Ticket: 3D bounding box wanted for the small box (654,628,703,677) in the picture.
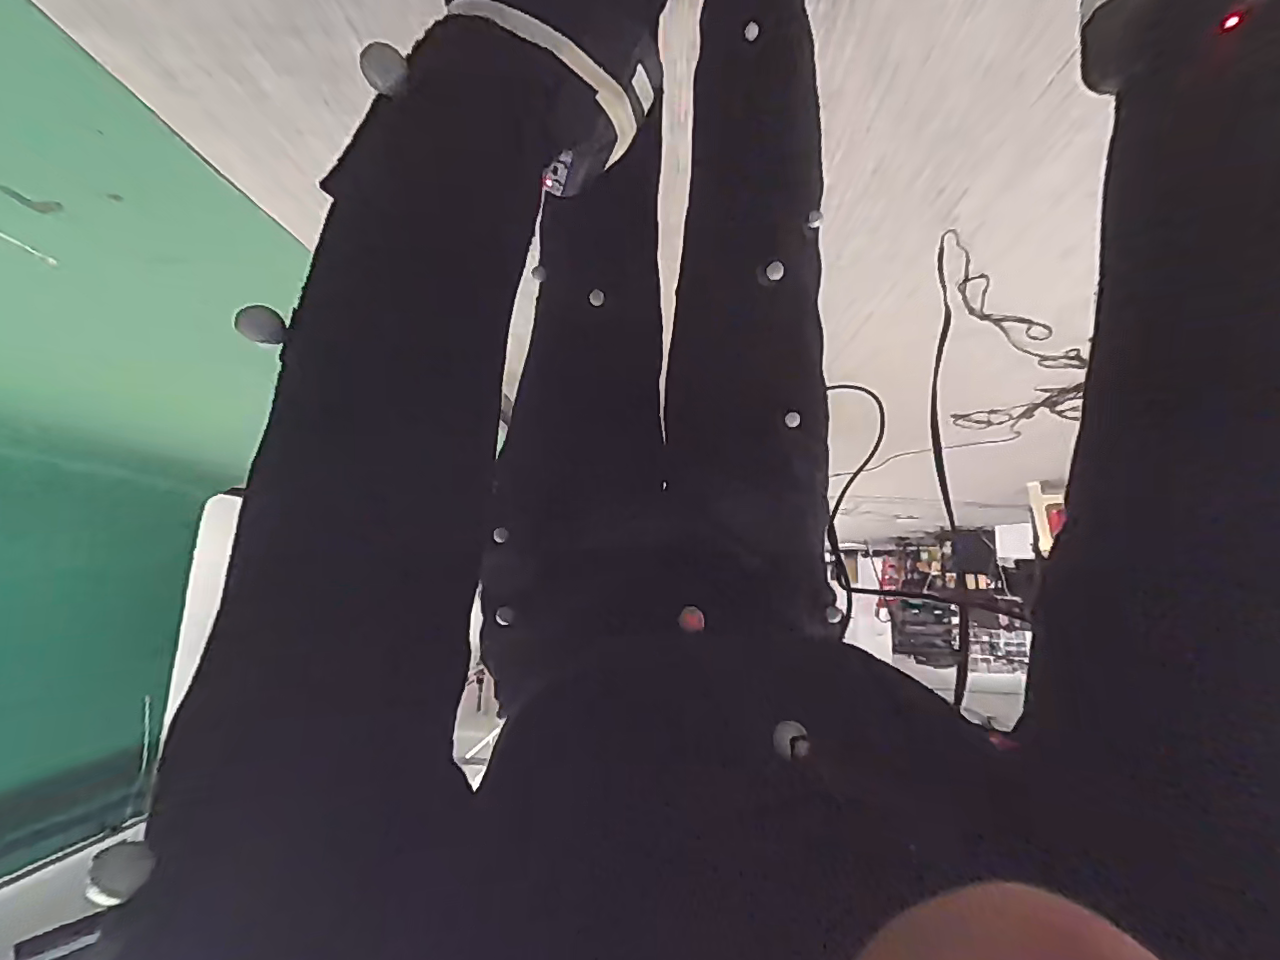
[{"bbox_3d":[0.146,0.635,2.035,0.179,0.176,0.168,1,169,9],"label":"small box"}]
